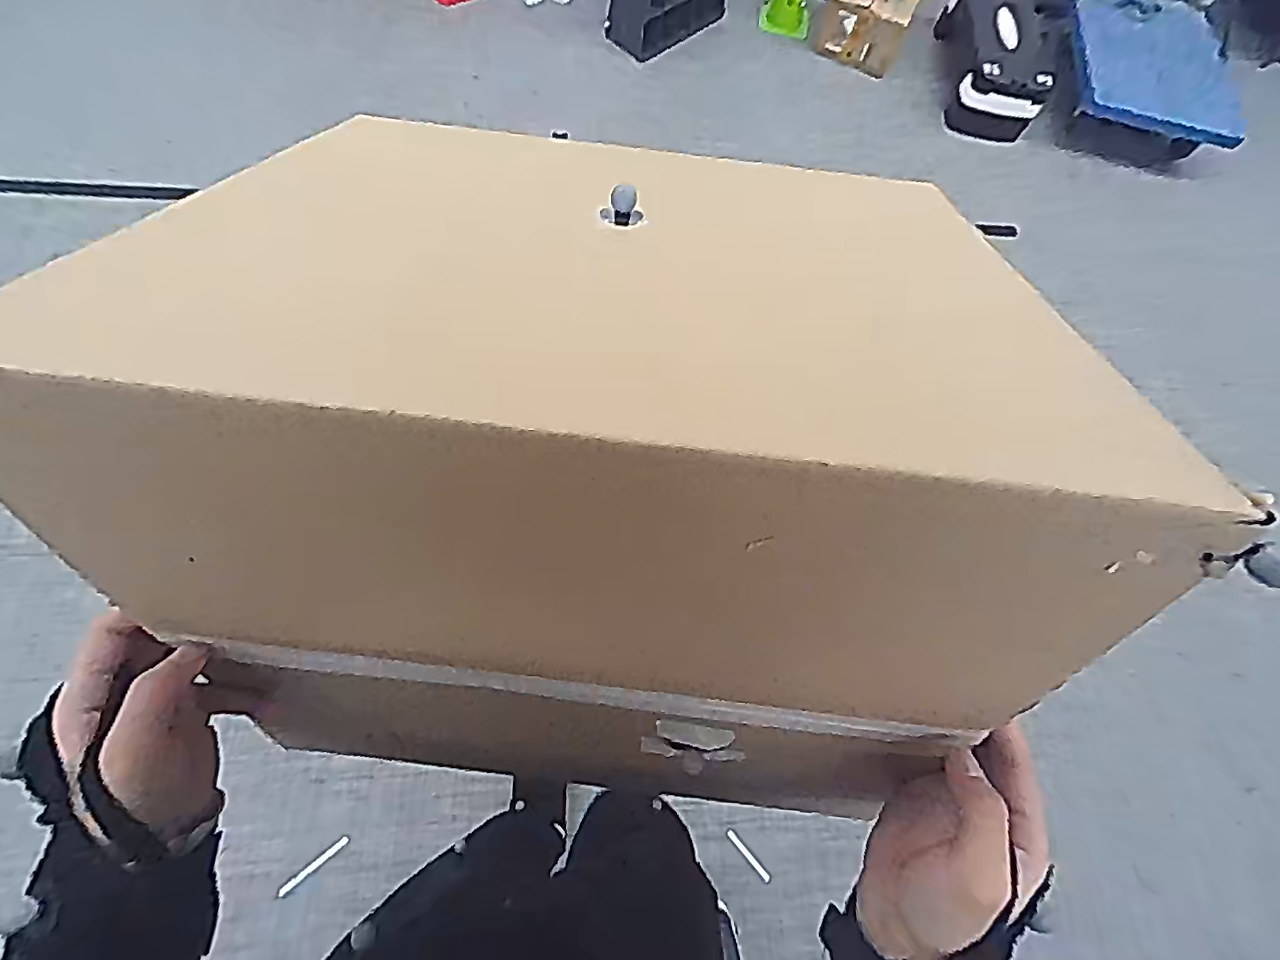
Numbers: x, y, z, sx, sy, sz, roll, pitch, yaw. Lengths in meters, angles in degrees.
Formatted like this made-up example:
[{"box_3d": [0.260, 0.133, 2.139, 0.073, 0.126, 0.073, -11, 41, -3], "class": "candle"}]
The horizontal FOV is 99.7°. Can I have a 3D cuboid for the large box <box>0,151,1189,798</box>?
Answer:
[{"box_3d": [-0.024, -0.010, 0.381, 0.408, 0.320, 0.320, 6, 45, 0], "class": "large box"}]
